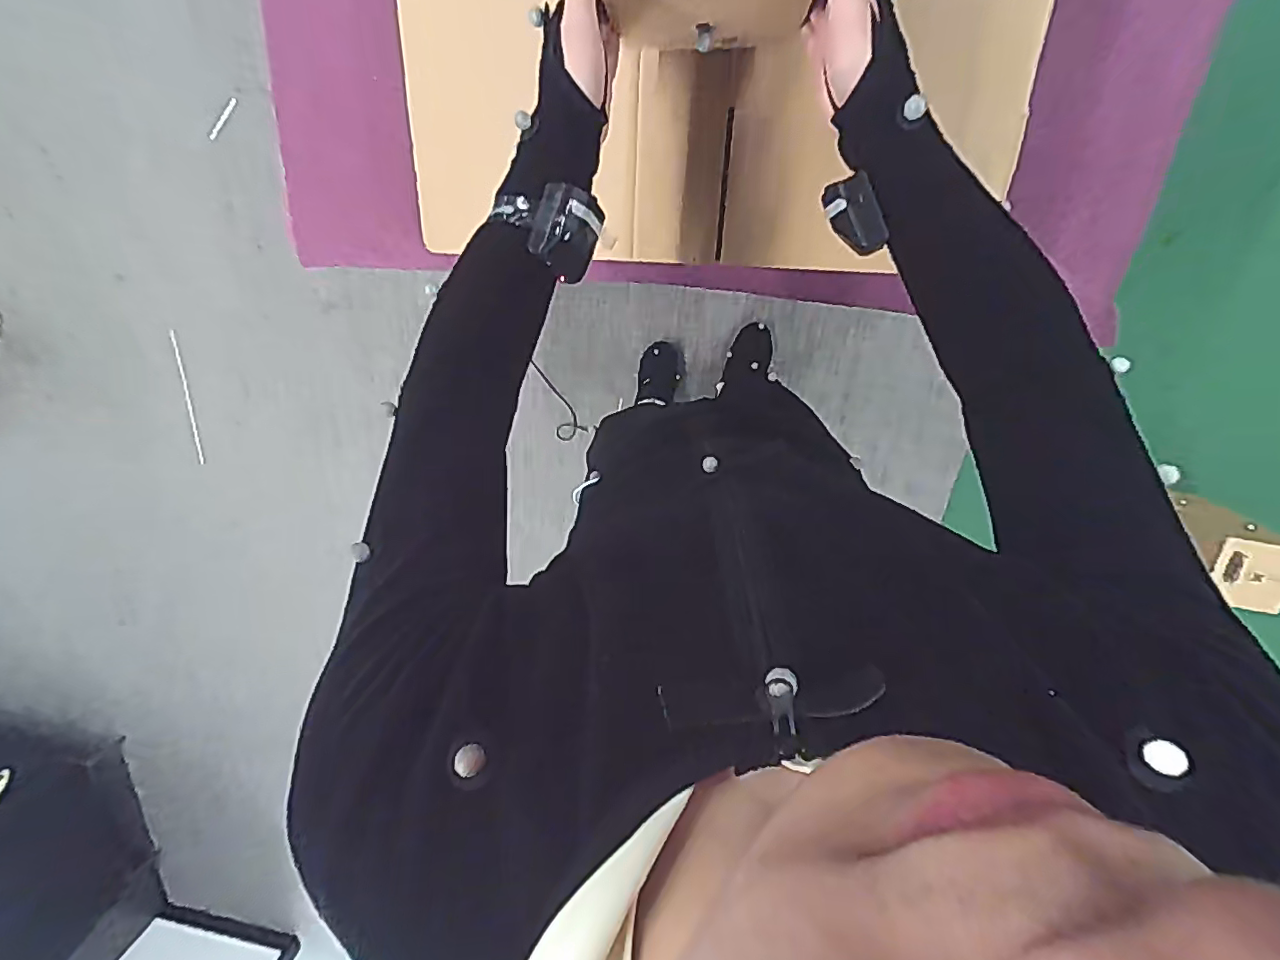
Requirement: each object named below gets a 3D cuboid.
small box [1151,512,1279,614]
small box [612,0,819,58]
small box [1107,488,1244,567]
[{"bbox_3d":[1.376,0.187,1.270,0.179,0.176,0.168,9,111,6],"label":"small box"},{"bbox_3d":[0.058,-0.455,0.411,0.168,0.176,0.179,3,114,6],"label":"small box"},{"bbox_3d":[1.402,0.132,1.422,0.179,0.176,0.168,9,111,7],"label":"small box"}]
